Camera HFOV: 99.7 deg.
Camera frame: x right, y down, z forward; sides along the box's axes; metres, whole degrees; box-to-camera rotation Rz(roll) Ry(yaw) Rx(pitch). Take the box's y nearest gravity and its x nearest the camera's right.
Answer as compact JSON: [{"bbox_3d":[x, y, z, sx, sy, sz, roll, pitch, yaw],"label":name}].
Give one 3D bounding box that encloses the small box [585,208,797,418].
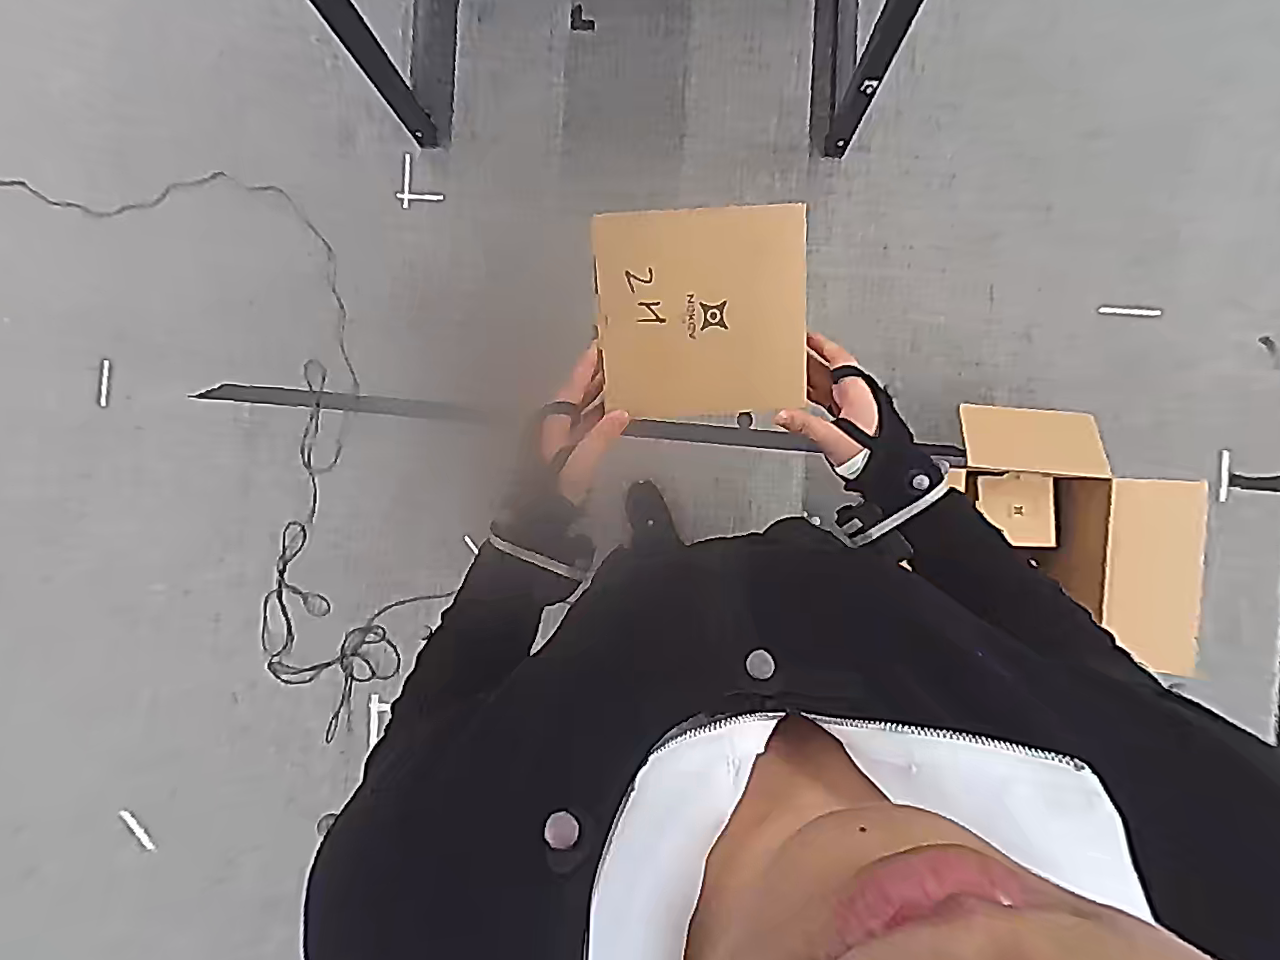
[{"bbox_3d":[0.041,-0.154,0.530,0.179,0.176,0.168,-4,101,-2],"label":"small box"}]
